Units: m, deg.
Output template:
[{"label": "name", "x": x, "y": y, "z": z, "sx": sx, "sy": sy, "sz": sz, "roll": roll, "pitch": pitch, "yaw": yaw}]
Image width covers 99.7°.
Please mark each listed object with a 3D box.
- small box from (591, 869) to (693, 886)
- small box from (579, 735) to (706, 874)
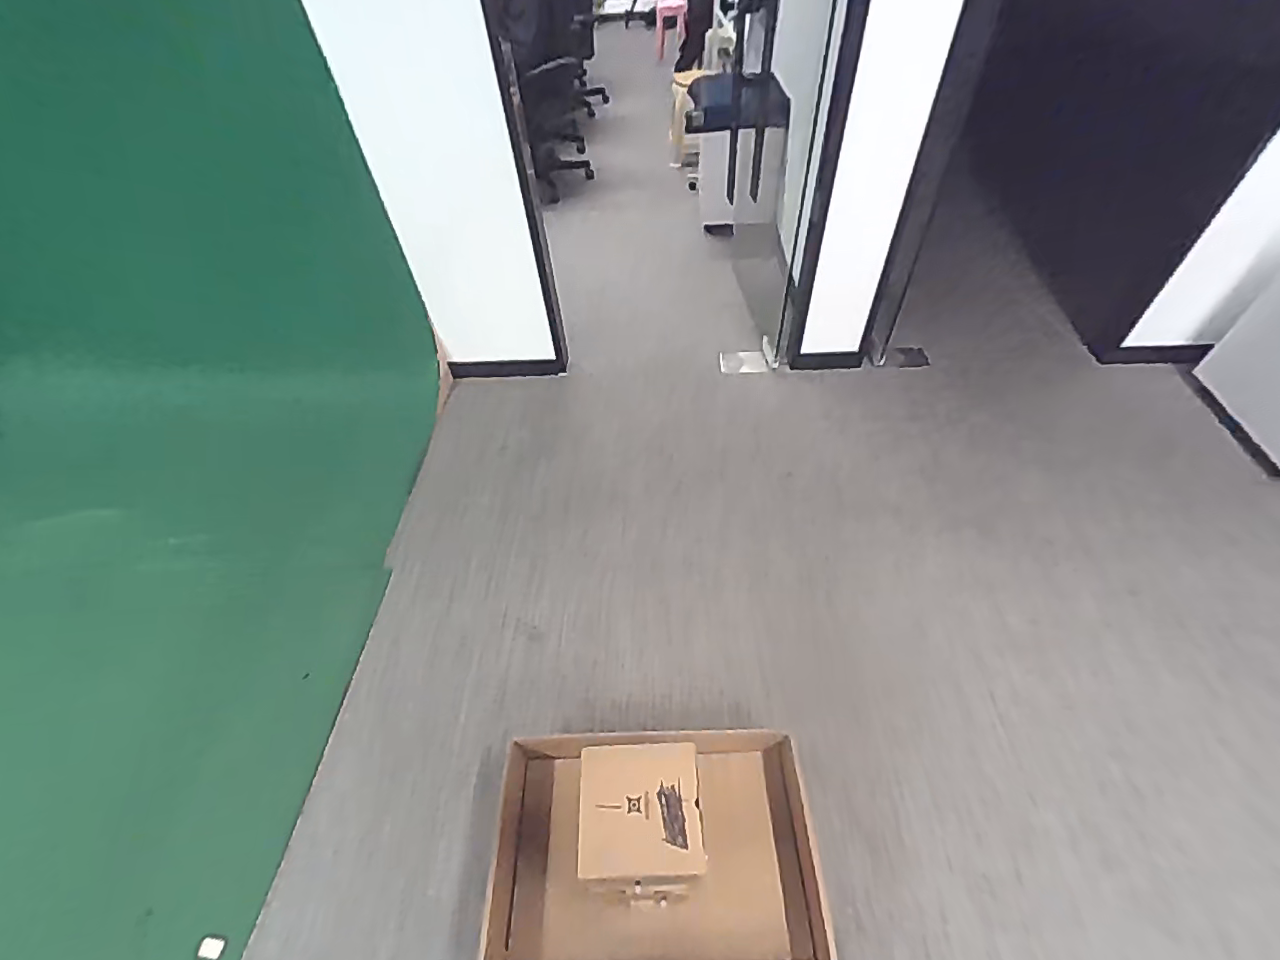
[{"label": "small box", "x": 0.006, "y": 0.608, "z": 0.959, "sx": 0.168, "sy": 0.176, "sz": 0.179, "roll": -4, "pitch": 51, "yaw": 1}, {"label": "small box", "x": 0.006, "y": 0.510, "z": 0.848, "sx": 0.179, "sy": 0.176, "sz": 0.168, "roll": -3, "pitch": 50, "yaw": 2}]
